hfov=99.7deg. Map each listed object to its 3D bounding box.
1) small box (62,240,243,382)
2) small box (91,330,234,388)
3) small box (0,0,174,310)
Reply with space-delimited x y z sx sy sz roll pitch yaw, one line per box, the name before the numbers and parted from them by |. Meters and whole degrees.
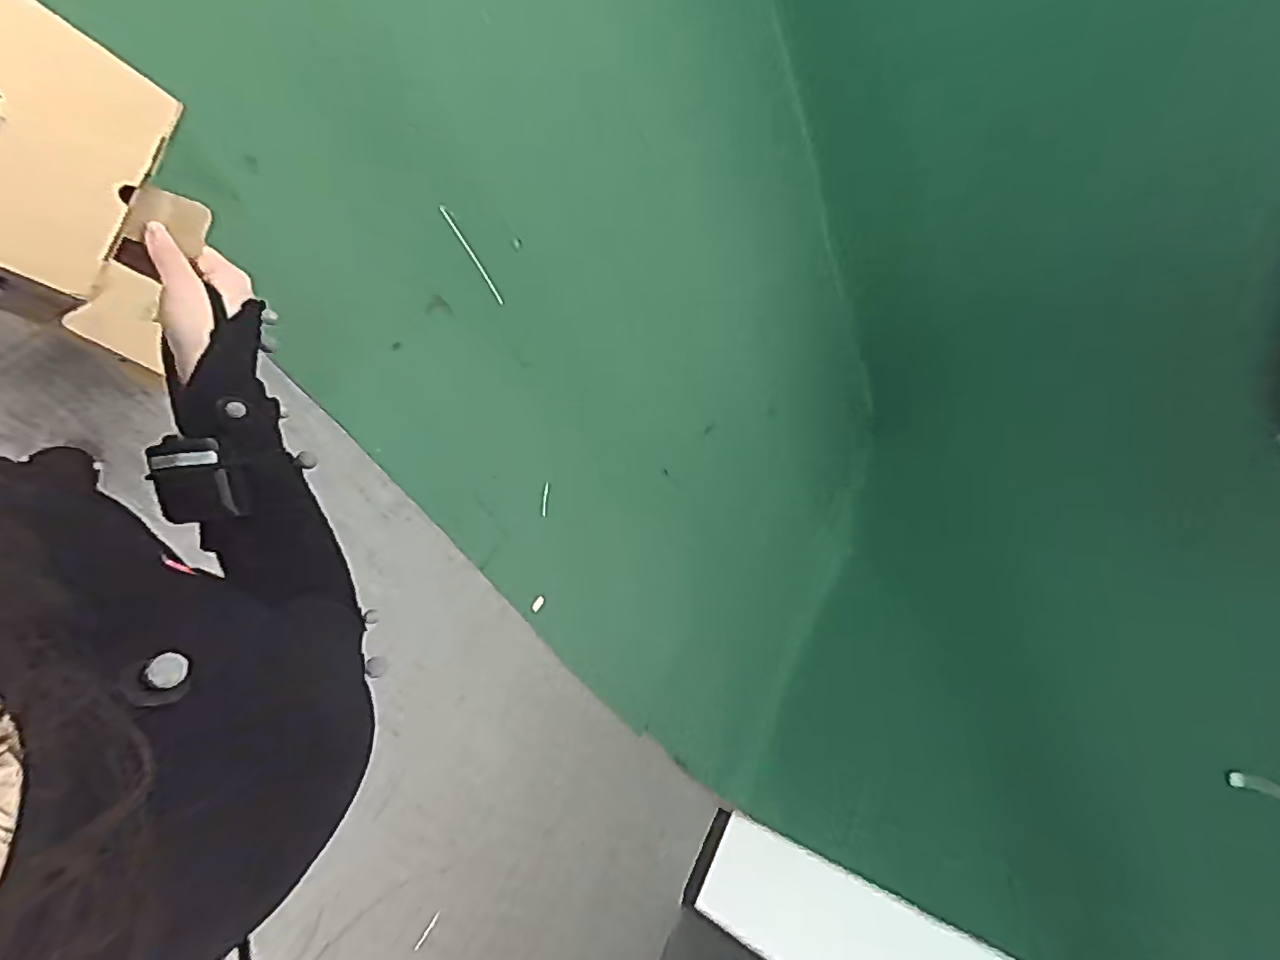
small box | -0.855 -0.282 0.951 0.179 0.176 0.168 37 69 -44
small box | -0.966 -0.295 1.069 0.179 0.176 0.168 52 58 -38
small box | -0.457 -0.225 0.344 0.179 0.176 0.168 27 73 -53
